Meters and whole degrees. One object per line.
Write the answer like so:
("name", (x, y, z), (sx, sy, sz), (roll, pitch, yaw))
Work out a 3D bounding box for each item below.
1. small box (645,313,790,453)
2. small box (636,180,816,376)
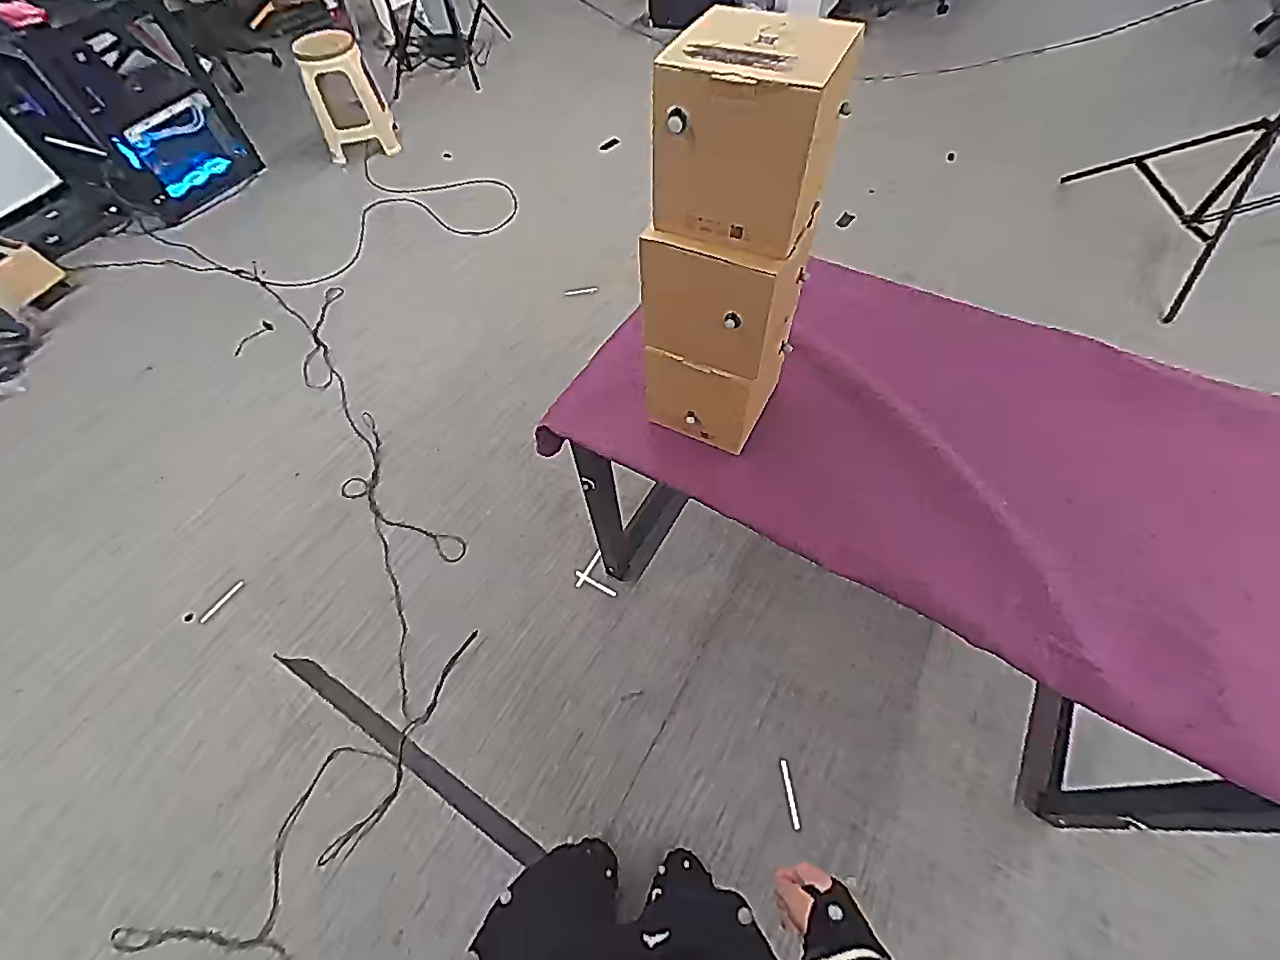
("small box", (0.119, -0.177, 0.864), (0.168, 0.176, 0.179), (23, 62, 17))
("small box", (0.111, -0.266, 0.729), (0.179, 0.176, 0.168), (22, 59, 17))
